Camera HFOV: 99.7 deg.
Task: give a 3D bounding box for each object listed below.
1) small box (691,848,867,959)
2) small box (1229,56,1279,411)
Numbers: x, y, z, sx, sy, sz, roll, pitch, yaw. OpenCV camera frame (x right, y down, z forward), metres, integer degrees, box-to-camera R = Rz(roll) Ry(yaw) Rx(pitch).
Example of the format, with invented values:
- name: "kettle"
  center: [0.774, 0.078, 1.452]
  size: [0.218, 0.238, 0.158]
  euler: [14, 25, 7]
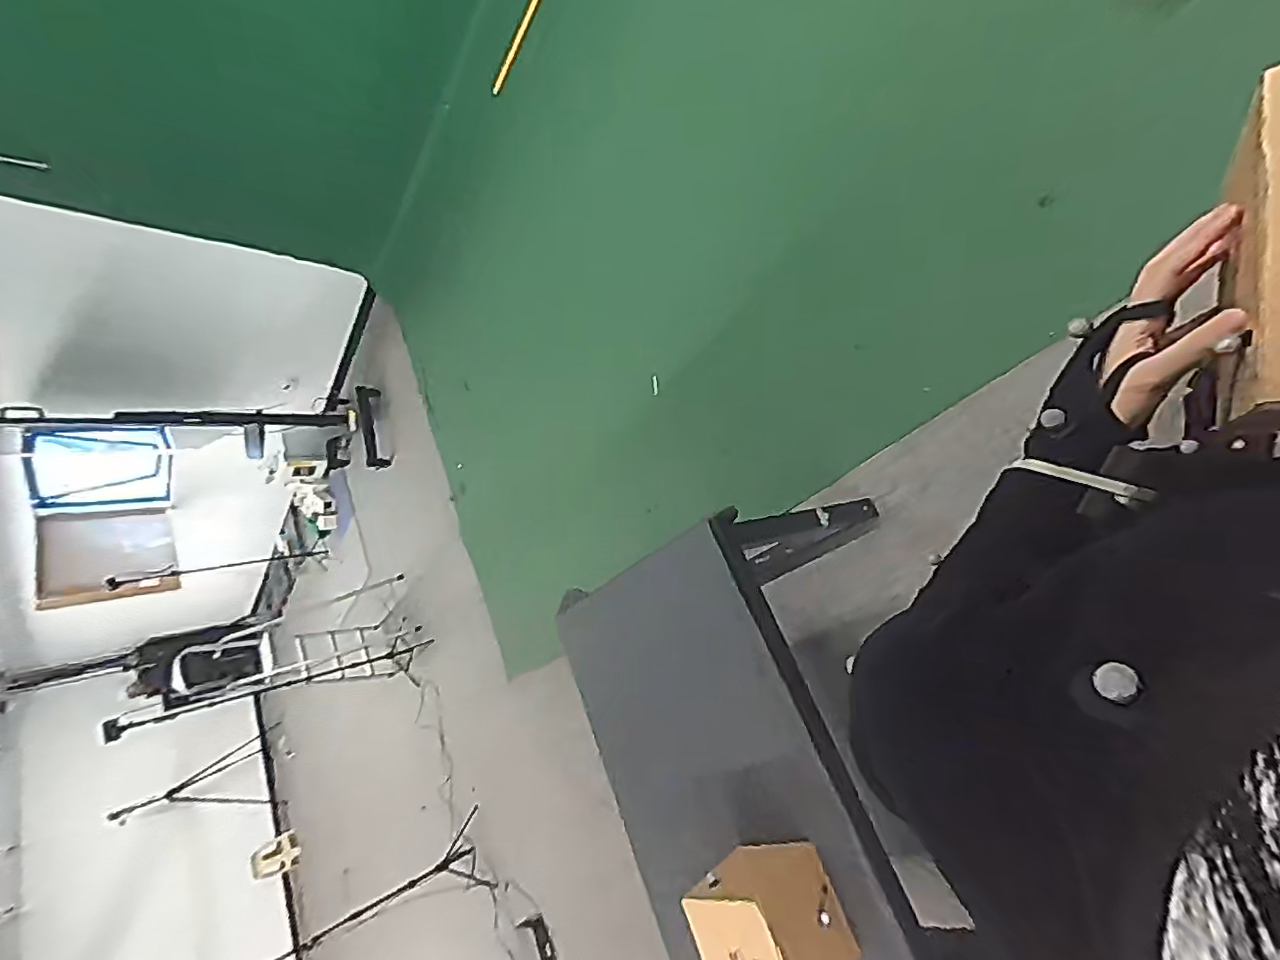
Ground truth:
- name: "small box"
  center: [0.219, 0.716, 0.858]
  size: [0.179, 0.176, 0.168]
  euler: [-40, 65, 40]
- name: "small box"
  center: [0.433, -0.136, 0.276]
  size: [0.168, 0.176, 0.179]
  euler: [-1, 90, 43]
